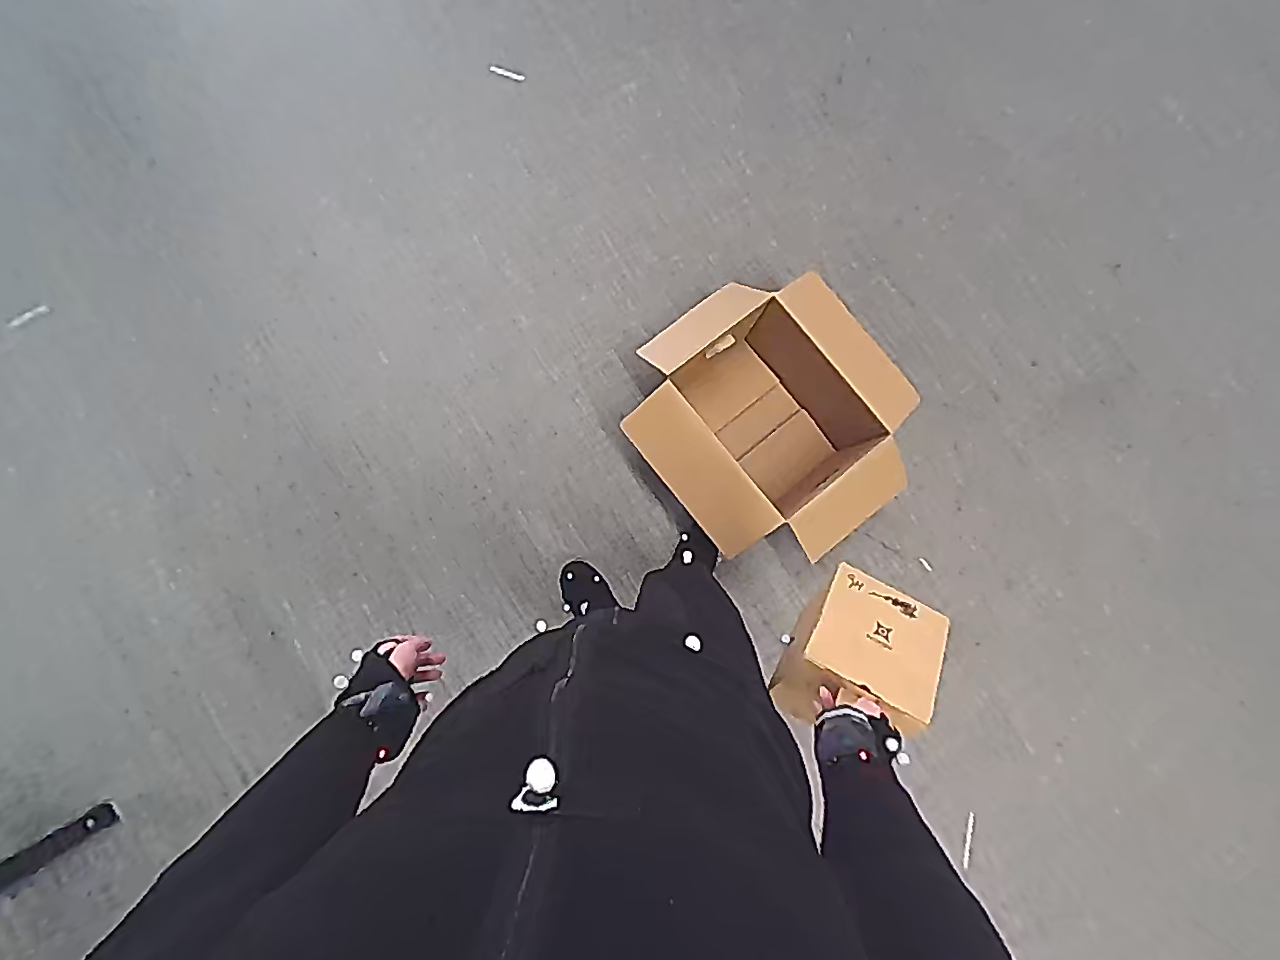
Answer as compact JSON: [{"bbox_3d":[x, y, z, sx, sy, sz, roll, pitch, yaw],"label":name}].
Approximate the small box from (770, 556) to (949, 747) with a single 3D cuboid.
[{"bbox_3d":[0.307,0.251,0.784,0.168,0.176,0.179,30,52,15],"label":"small box"}]
